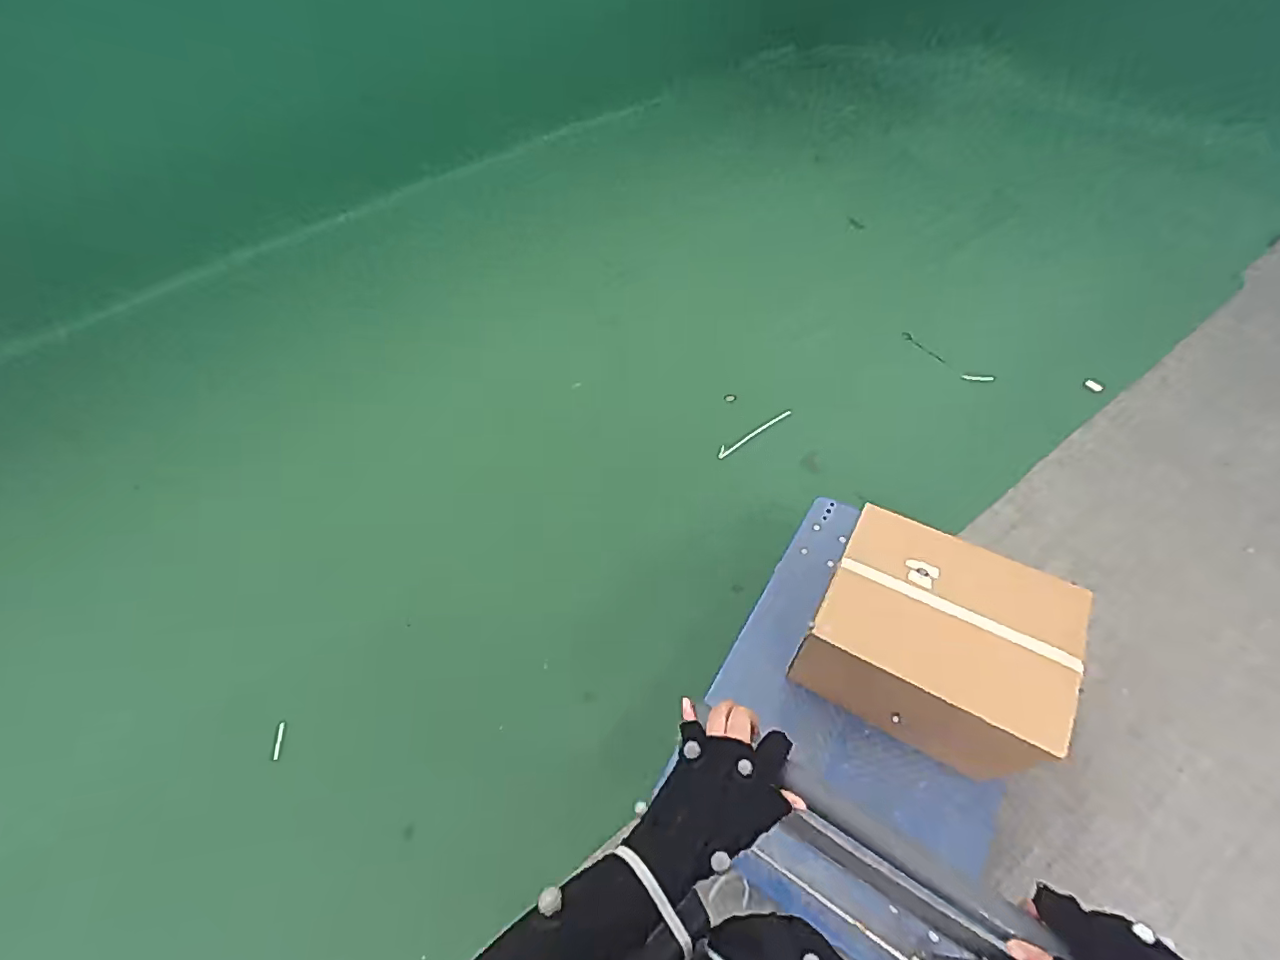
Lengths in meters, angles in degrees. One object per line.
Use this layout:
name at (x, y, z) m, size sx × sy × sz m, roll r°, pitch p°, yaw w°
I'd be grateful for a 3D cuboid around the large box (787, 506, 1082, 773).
large box at (0.555, 0.318, 1.080) m, size 0.408 × 0.320 × 0.320 m, roll 24°, pitch 61°, yaw 22°
